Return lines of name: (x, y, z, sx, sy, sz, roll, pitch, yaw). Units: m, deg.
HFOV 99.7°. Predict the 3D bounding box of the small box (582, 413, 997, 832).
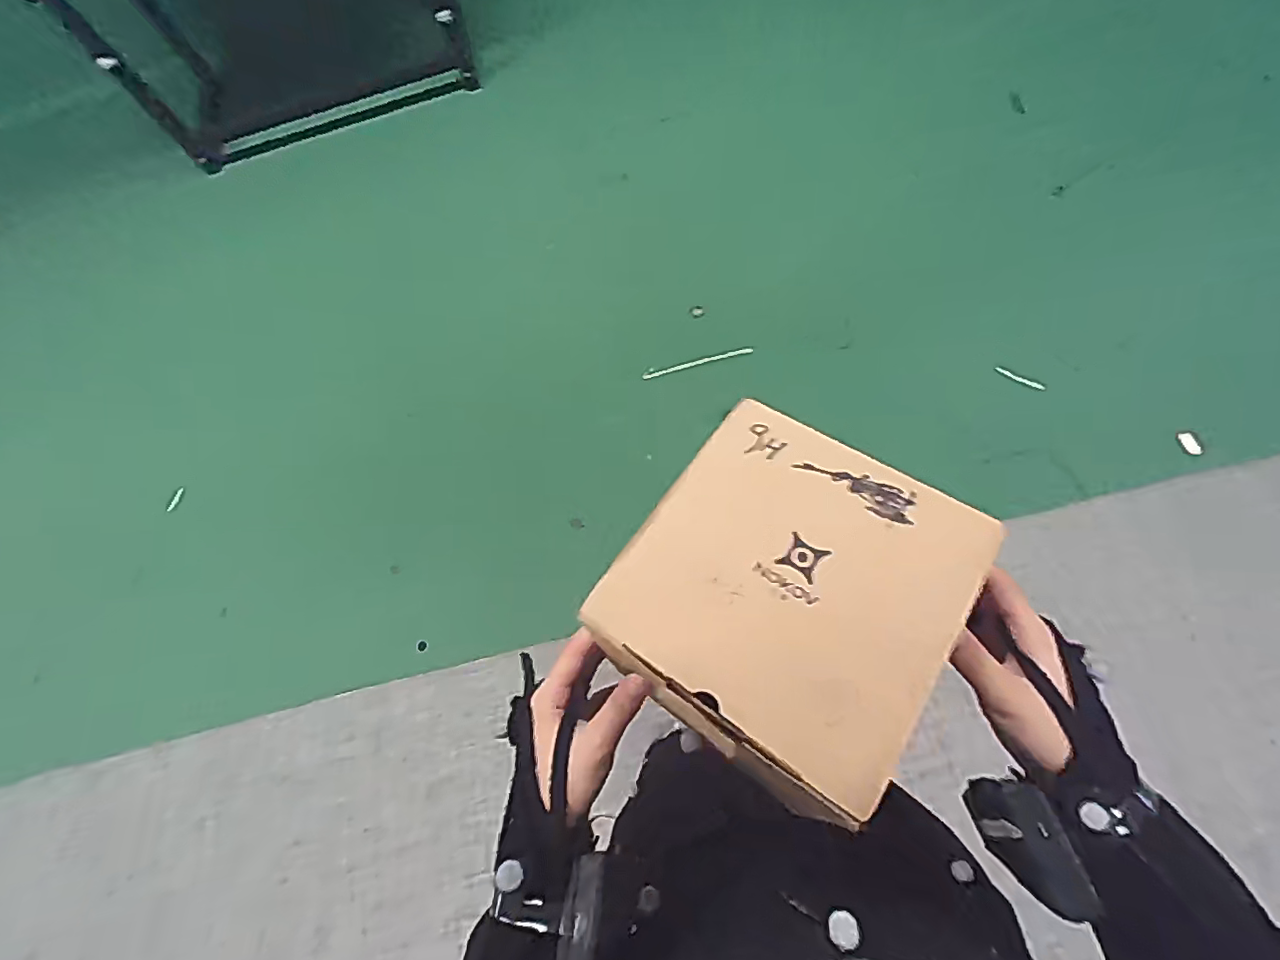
small box: (0.090, 0.095, 0.365, 0.168, 0.176, 0.179, 31, 69, 21)
